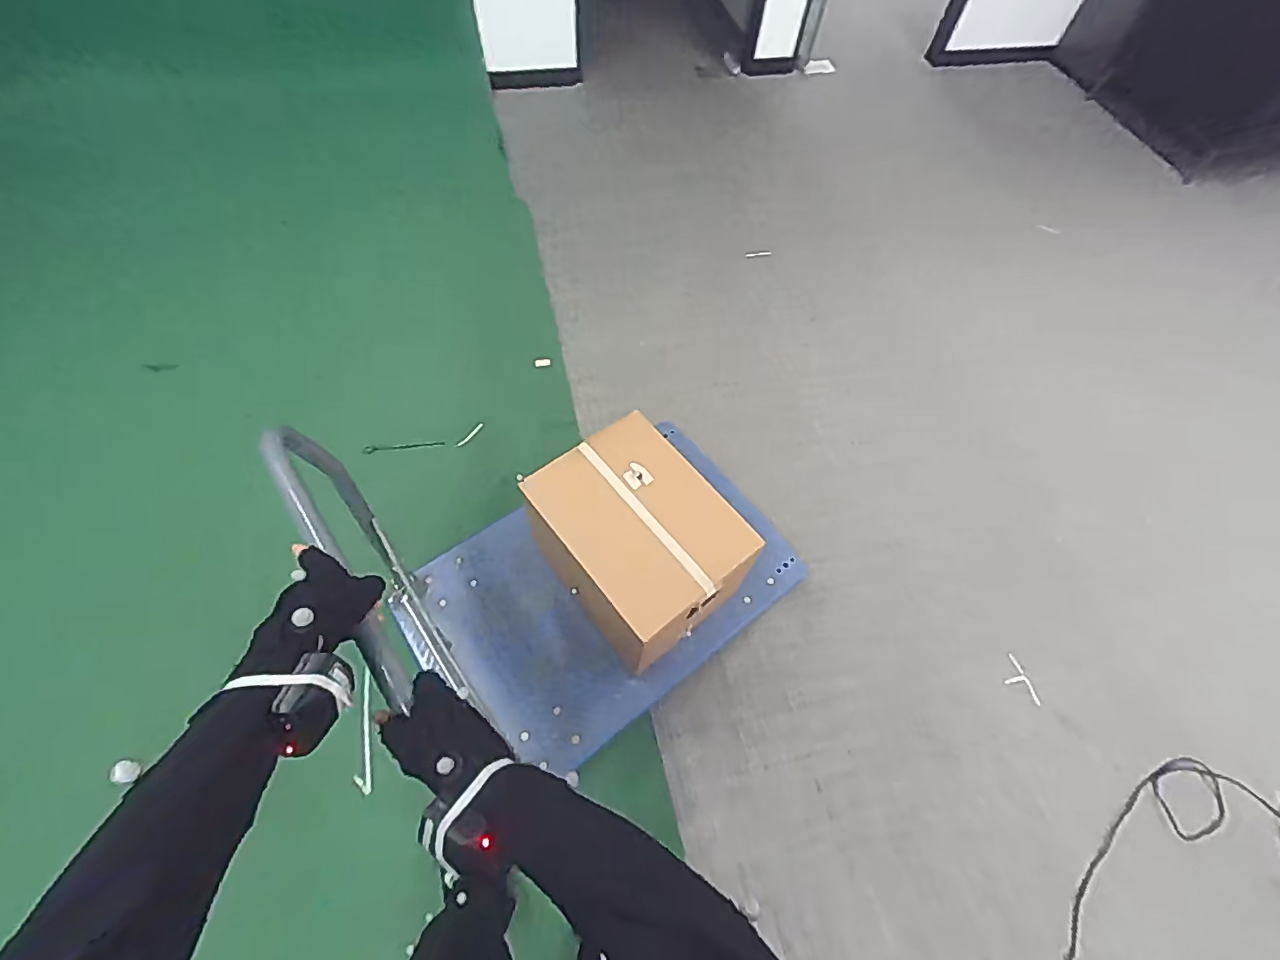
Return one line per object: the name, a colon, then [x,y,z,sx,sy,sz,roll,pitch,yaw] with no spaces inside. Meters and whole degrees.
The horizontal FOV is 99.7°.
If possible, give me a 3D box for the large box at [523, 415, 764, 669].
large box: [-0.002,0.142,1.202,0.320,0.320,0.408,-34,67,-21]
